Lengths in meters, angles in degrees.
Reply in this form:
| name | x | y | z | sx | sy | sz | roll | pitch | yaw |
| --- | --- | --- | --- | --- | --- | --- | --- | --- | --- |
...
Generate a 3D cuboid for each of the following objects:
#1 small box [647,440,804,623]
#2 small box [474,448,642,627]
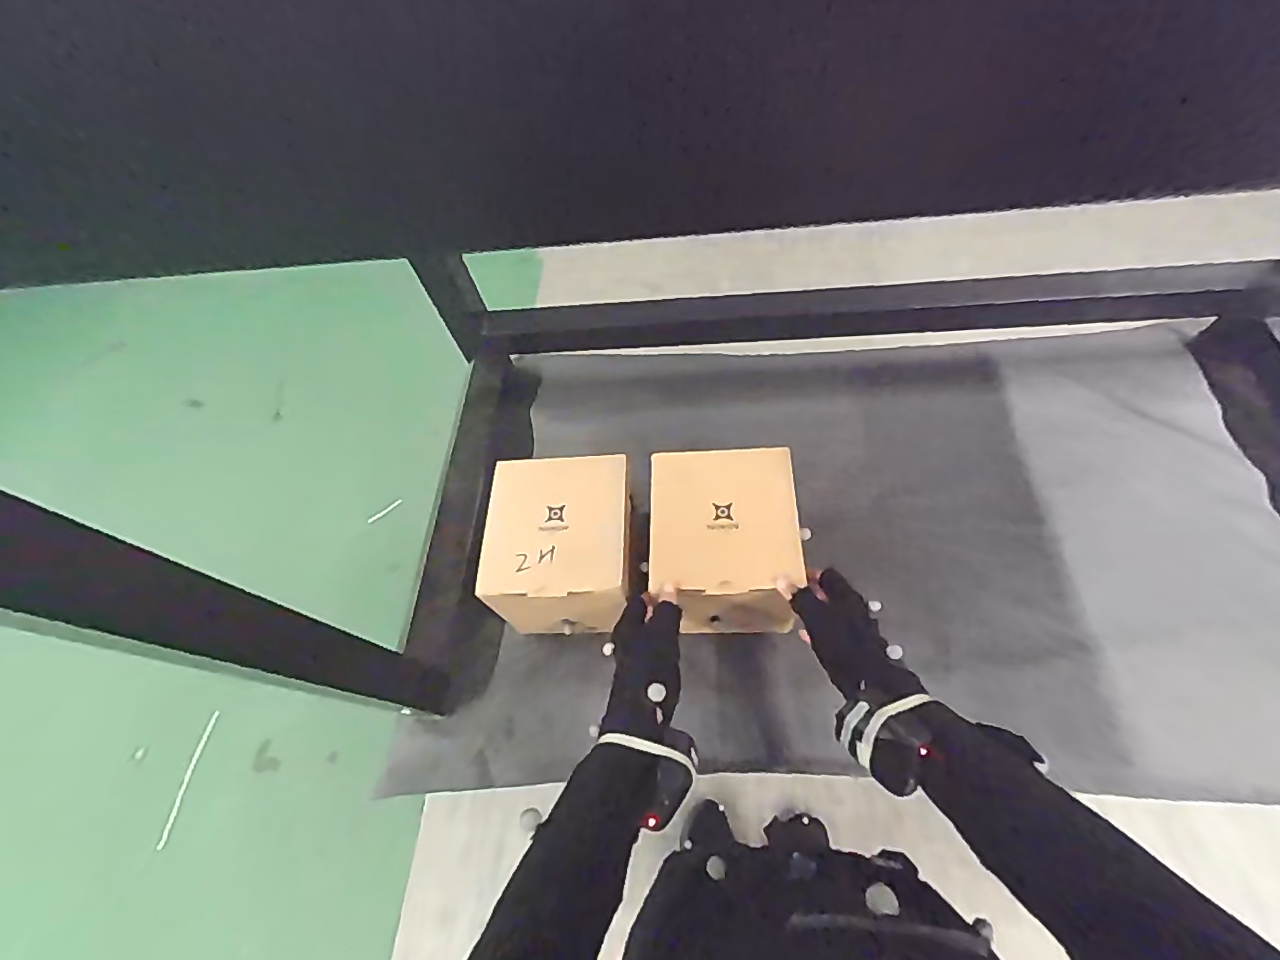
| name | x | y | z | sx | sy | sz | roll | pitch | yaw |
| --- | --- | --- | --- | --- | --- | --- | --- | --- | --- |
| small box | 0.101 | 0.069 | 0.672 | 0.168 | 0.176 | 0.179 | -3 | 61 | 8 |
| small box | -0.090 | 0.078 | 0.692 | 0.168 | 0.176 | 0.179 | -3 | 60 | 7 |
